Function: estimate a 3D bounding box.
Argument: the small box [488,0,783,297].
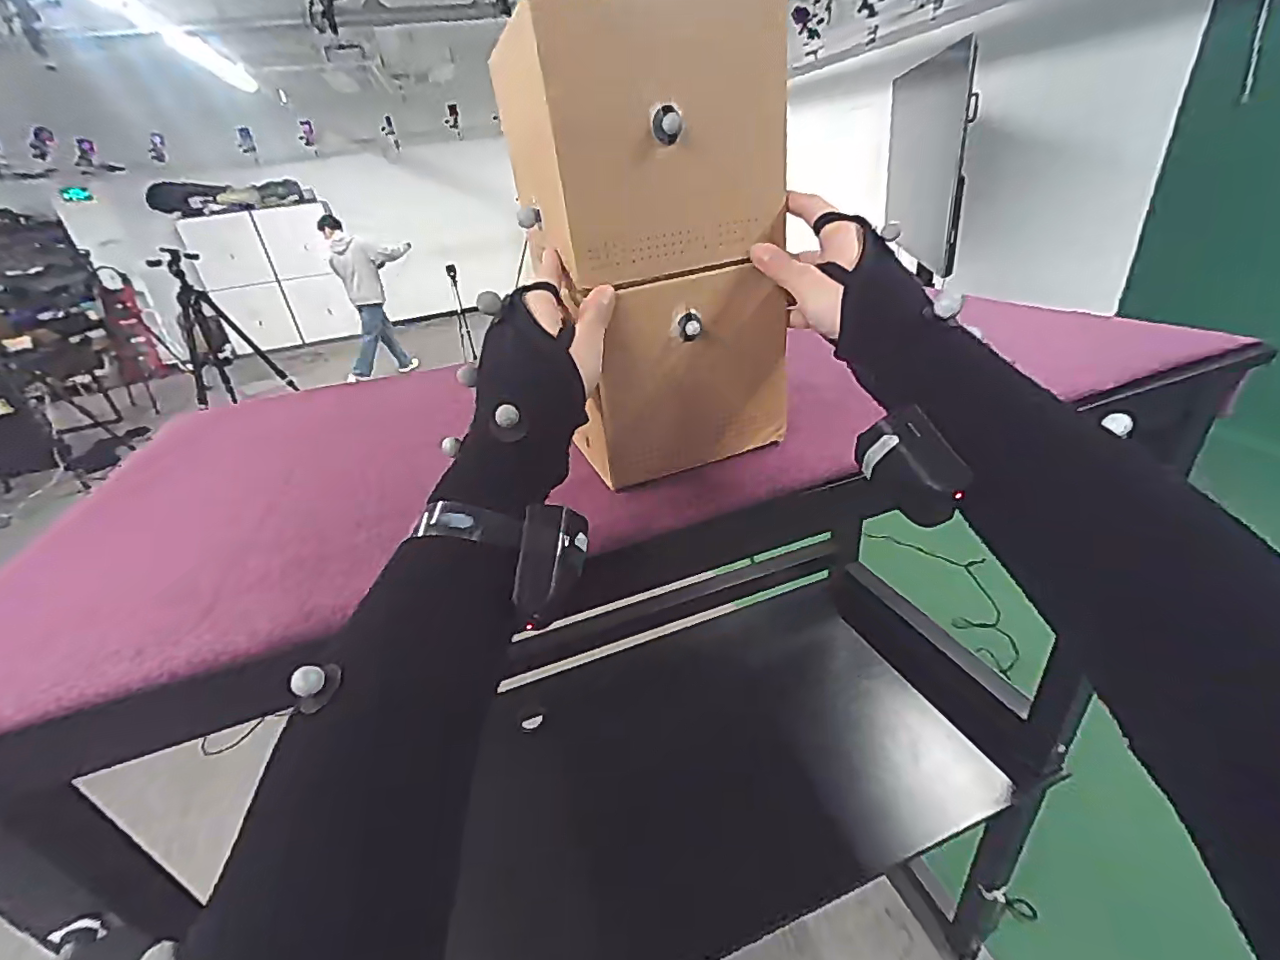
[{"bbox_3d":[-0.005,-0.255,0.432,0.179,0.176,0.168,-18,30,-14],"label":"small box"}]

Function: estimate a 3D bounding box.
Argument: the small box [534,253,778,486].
[{"bbox_3d":[0.015,-0.113,0.509,0.179,0.176,0.168,-16,29,-15],"label":"small box"}]
